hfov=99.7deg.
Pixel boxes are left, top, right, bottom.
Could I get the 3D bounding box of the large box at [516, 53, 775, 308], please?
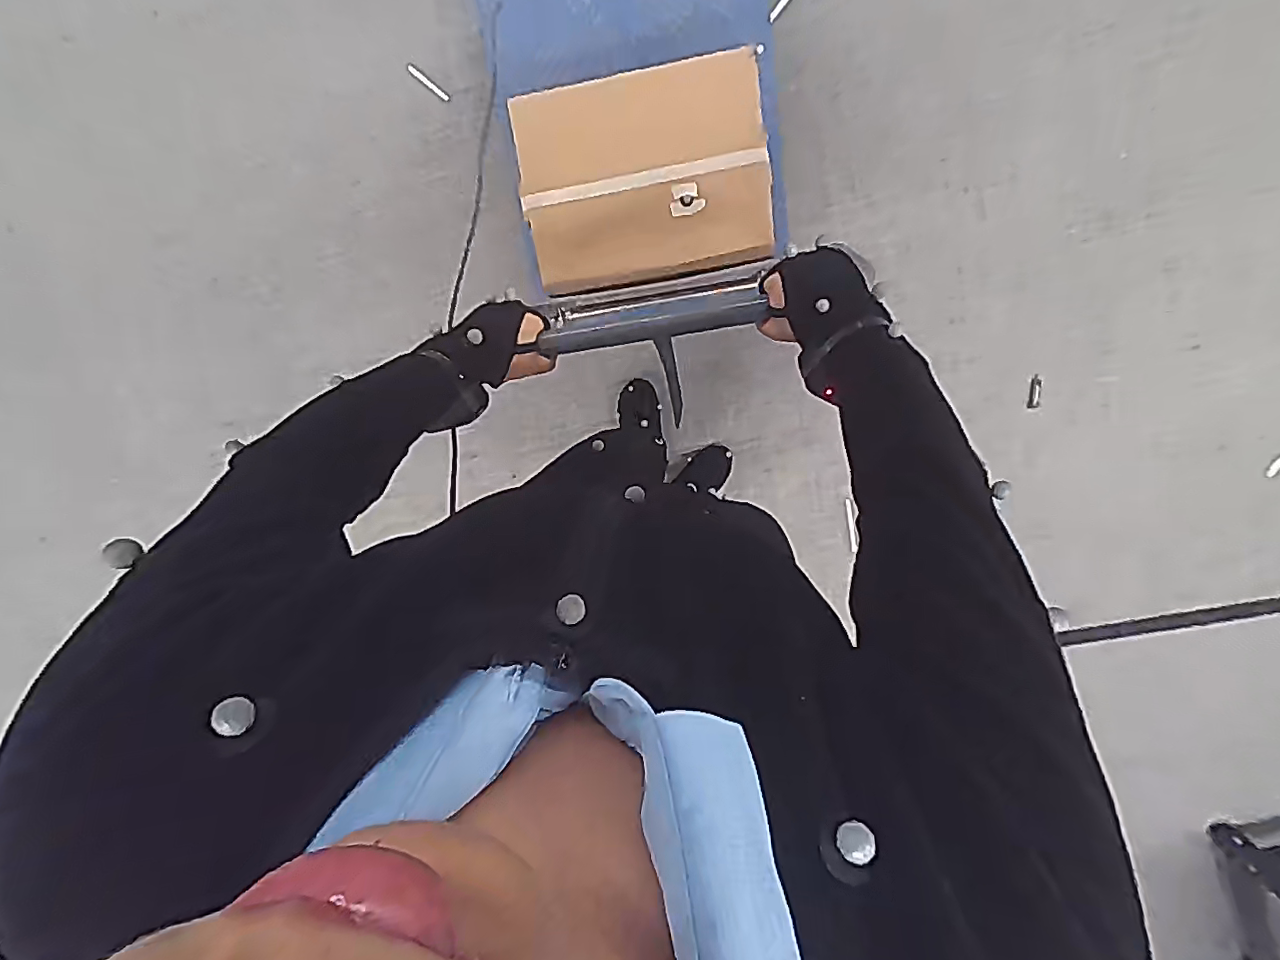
[{"bbox_3d":[0.020,-0.539,1.057,0.408,0.320,0.320,-8,104,5],"label":"large box"}]
